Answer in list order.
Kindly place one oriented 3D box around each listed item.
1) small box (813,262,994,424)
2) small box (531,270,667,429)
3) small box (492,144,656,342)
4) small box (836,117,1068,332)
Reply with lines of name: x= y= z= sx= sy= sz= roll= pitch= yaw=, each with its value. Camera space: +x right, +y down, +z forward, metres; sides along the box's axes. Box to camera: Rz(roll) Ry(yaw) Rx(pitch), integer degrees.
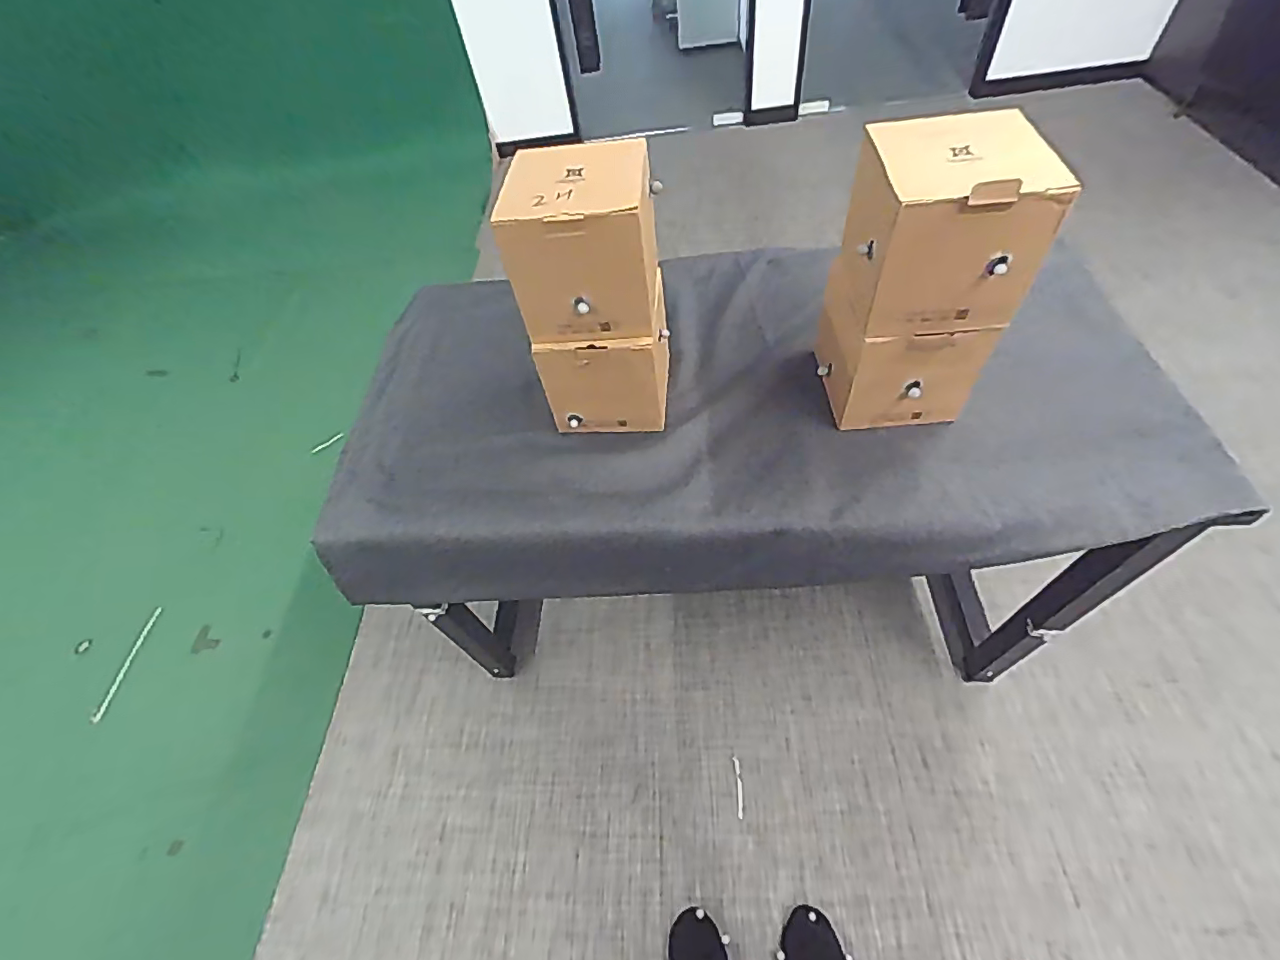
small box: x=0.353 y=-0.192 z=0.763 sx=0.168 sy=0.176 sz=0.179 roll=-4 pitch=54 yaw=5
small box: x=-0.049 y=-0.190 z=0.818 sx=0.168 sy=0.176 sz=0.179 roll=0 pitch=53 yaw=8
small box: x=-0.069 y=-0.300 z=0.695 sx=0.168 sy=0.176 sz=0.179 roll=-2 pitch=54 yaw=7
small box: x=0.339 y=-0.288 z=0.632 sx=0.168 sy=0.176 sz=0.179 roll=-2 pitch=53 yaw=6
